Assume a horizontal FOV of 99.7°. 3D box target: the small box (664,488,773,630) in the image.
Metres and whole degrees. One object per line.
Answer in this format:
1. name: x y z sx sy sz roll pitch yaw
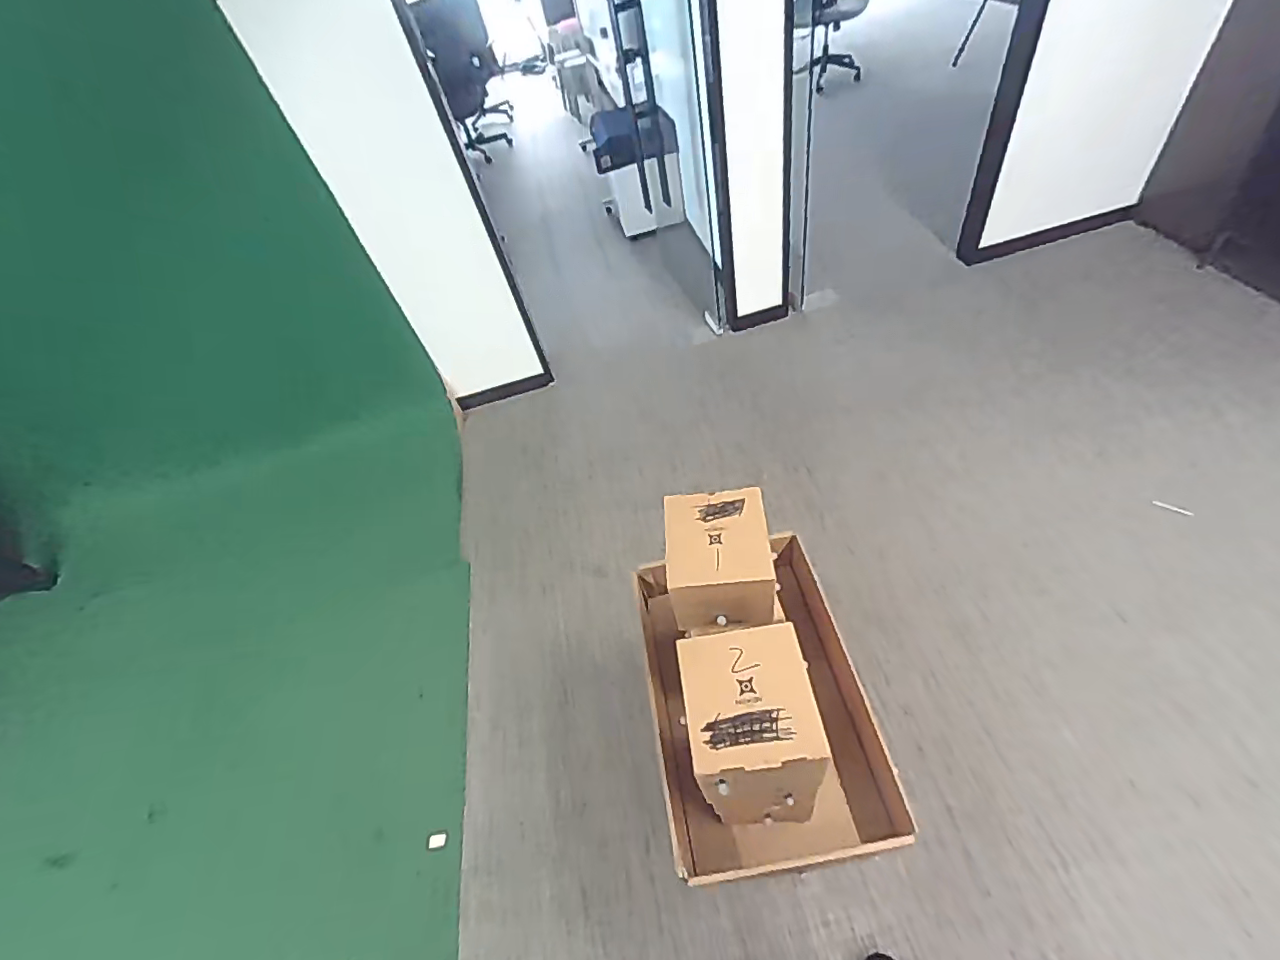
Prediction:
1. small box: 0.132 0.138 0.925 0.168 0.176 0.179 -6 51 8

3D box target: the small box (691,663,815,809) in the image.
1. small box: 0.182 0.423 0.883 0.168 0.176 0.179 -9 47 6

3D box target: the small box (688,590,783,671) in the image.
1. small box: 0.167 0.243 1.046 0.168 0.176 0.179 -13 50 2
